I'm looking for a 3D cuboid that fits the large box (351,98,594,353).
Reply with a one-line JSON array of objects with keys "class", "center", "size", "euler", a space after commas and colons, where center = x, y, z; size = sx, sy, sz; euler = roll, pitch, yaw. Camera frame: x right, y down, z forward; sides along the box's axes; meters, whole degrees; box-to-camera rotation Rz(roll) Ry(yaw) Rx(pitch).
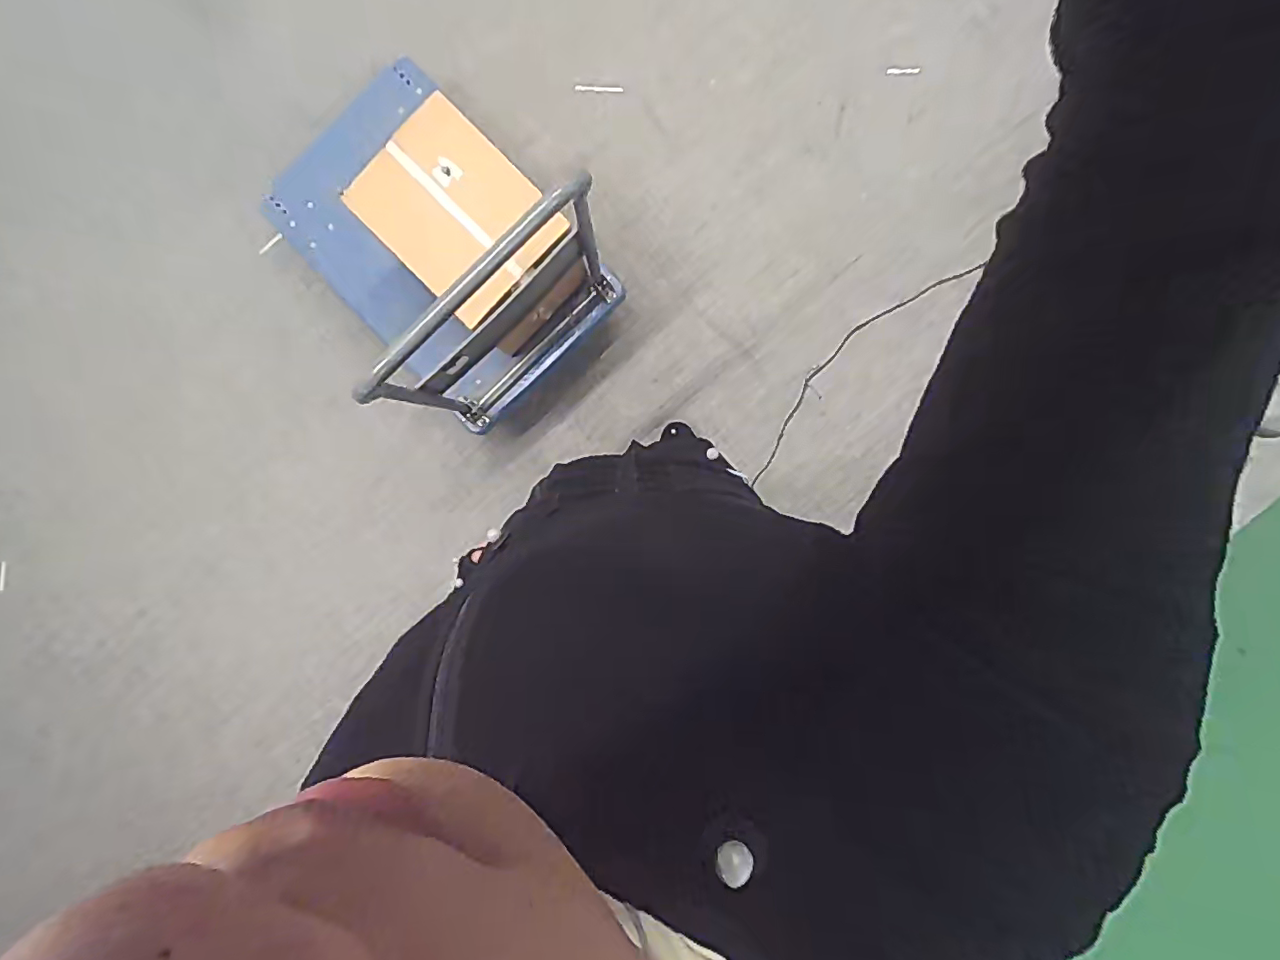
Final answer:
[{"class": "large box", "center": [-0.371, -0.574, 1.302], "size": [0.408, 0.320, 0.320], "euler": [45, 93, 1]}]
